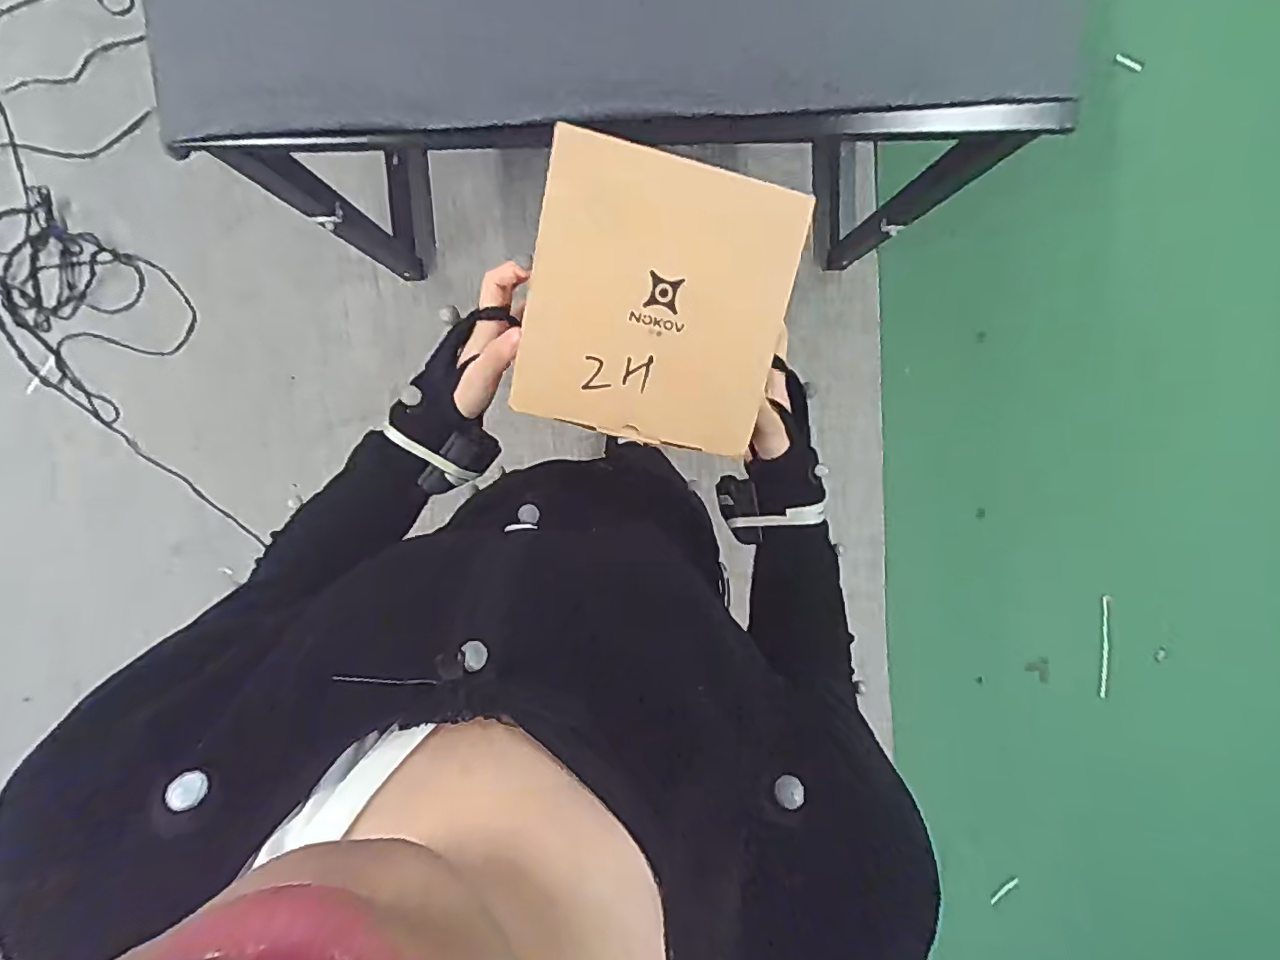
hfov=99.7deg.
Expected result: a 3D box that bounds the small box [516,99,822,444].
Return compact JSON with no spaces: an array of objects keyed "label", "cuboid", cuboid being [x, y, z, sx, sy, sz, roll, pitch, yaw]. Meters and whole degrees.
[{"label":"small box","cuboid":[0.009,-0.140,0.416,0.168,0.176,0.179,11,102,-7]}]
